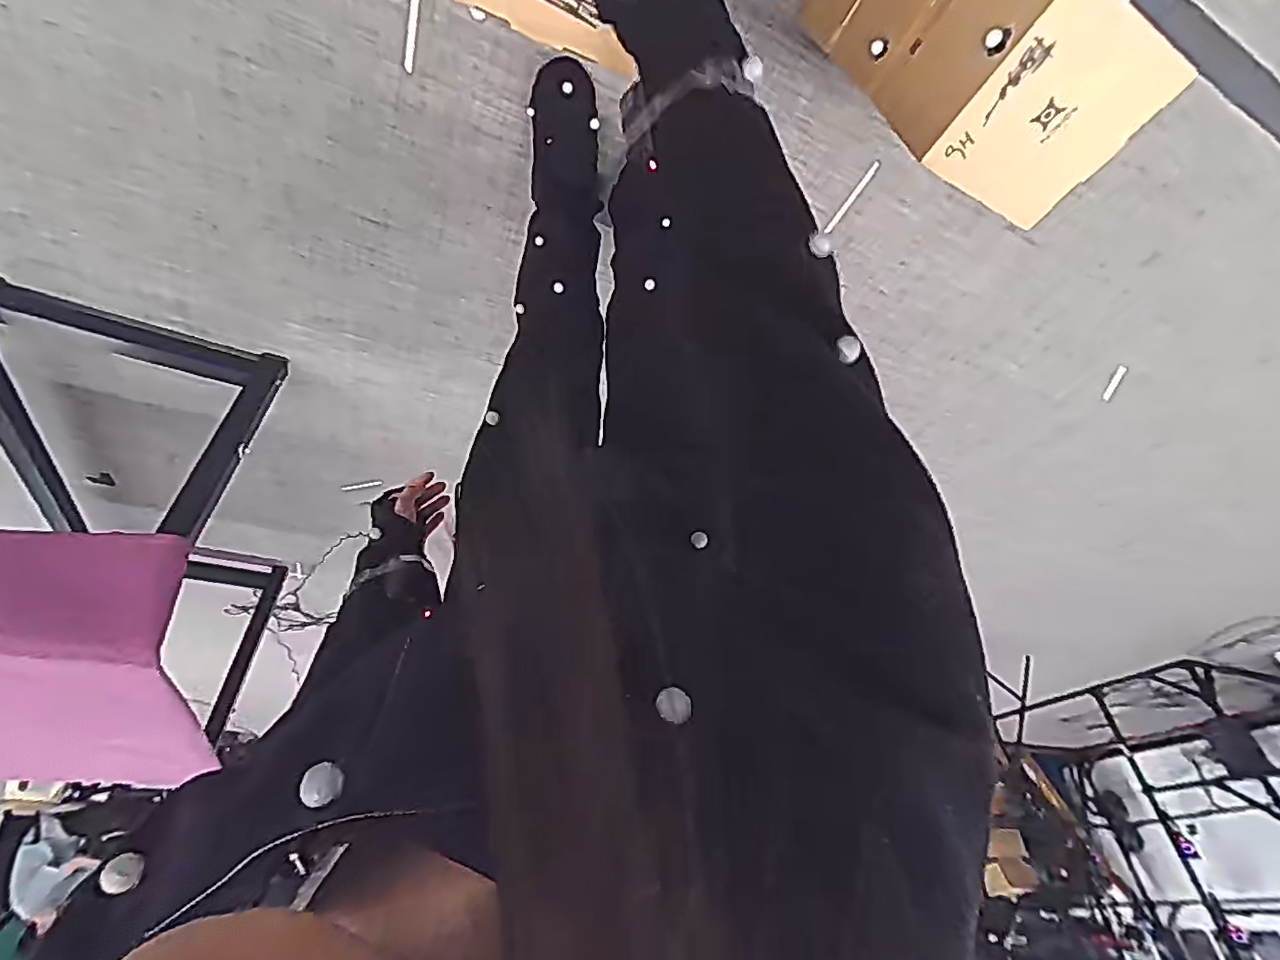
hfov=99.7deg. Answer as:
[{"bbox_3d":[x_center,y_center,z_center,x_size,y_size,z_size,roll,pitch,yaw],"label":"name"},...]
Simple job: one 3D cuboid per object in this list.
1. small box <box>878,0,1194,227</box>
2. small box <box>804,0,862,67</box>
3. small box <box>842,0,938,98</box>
[{"bbox_3d":[0.386,-0.407,0.556,0.179,0.176,0.168,14,141,-24],"label":"small box"},{"bbox_3d":[0.360,-0.668,0.750,0.179,0.176,0.168,16,139,-25],"label":"small box"},{"bbox_3d":[0.372,-0.545,0.644,0.168,0.176,0.179,13,141,-21],"label":"small box"}]
